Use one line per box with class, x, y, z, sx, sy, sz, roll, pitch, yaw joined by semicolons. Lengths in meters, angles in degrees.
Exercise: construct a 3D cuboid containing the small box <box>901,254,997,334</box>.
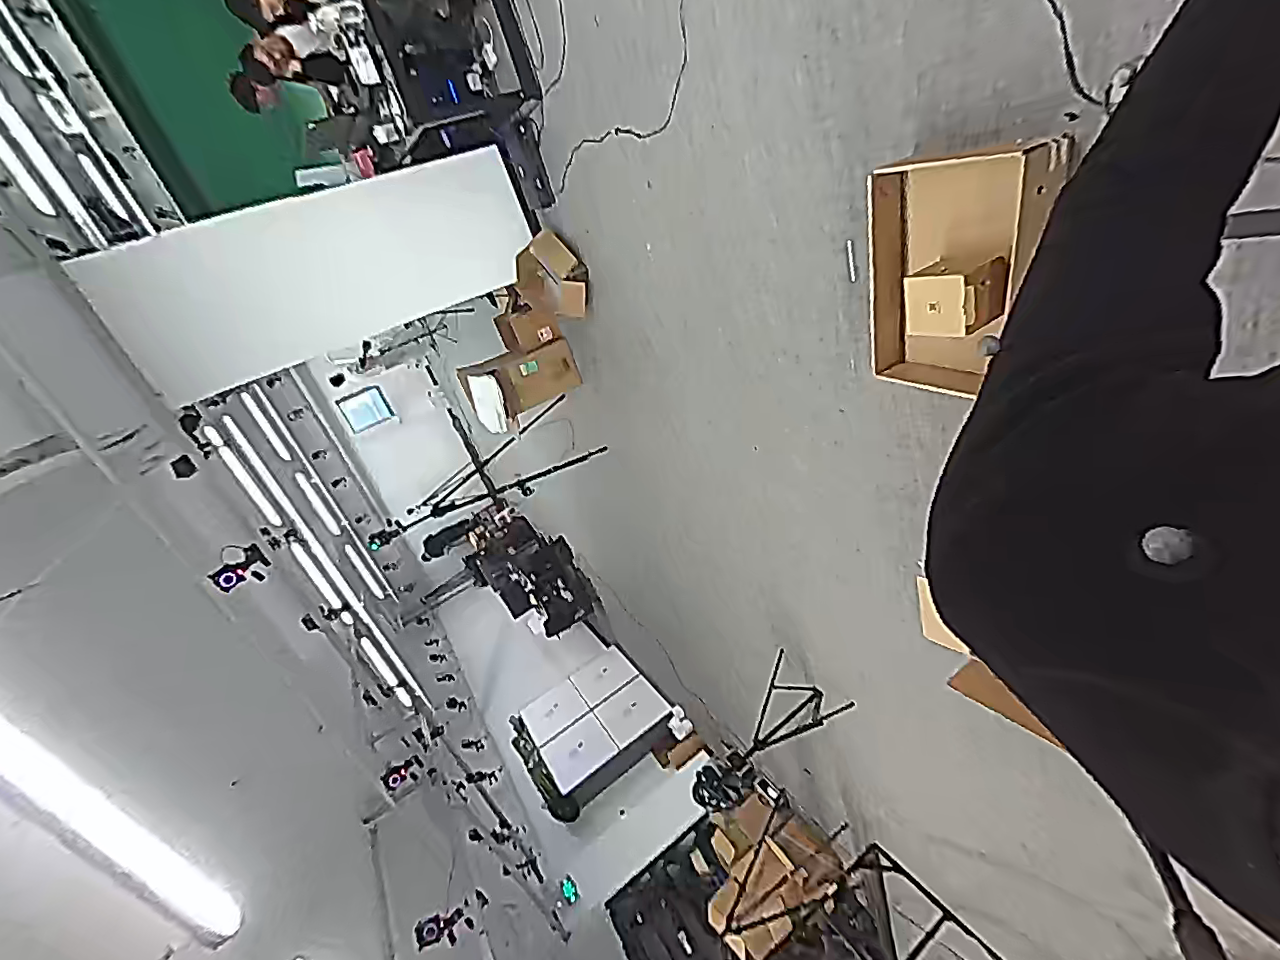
small box;0.856;-0.514;1.494;0.179;0.176;0.168;27;140;55
